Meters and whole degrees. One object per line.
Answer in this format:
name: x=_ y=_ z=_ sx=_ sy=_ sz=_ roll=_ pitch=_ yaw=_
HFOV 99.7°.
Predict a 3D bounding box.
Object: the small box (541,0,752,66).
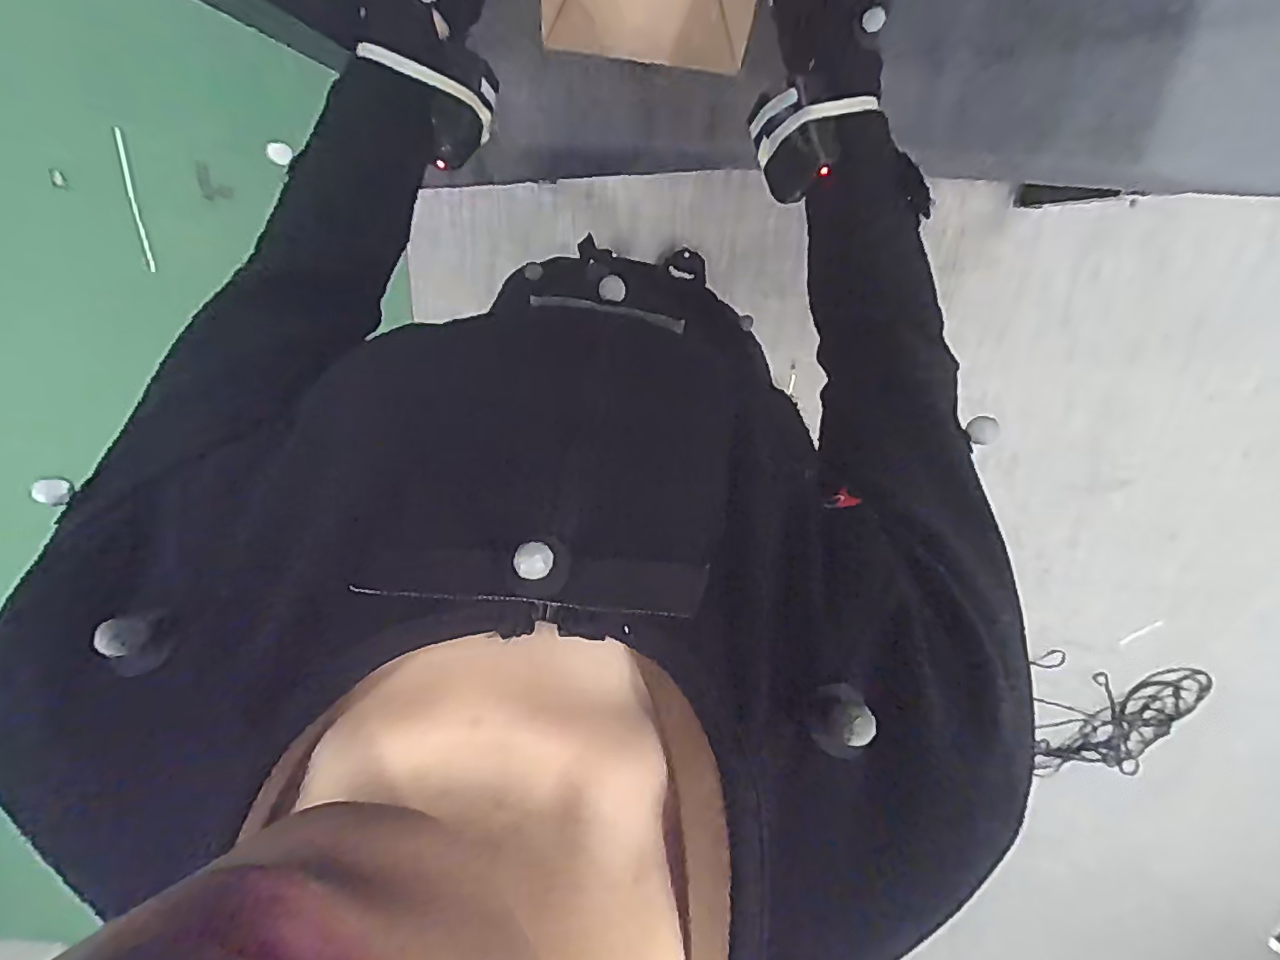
small box: x=0.011 y=-0.463 z=0.411 sx=0.168 sy=0.176 sz=0.179 roll=4 pitch=150 yaw=-5
